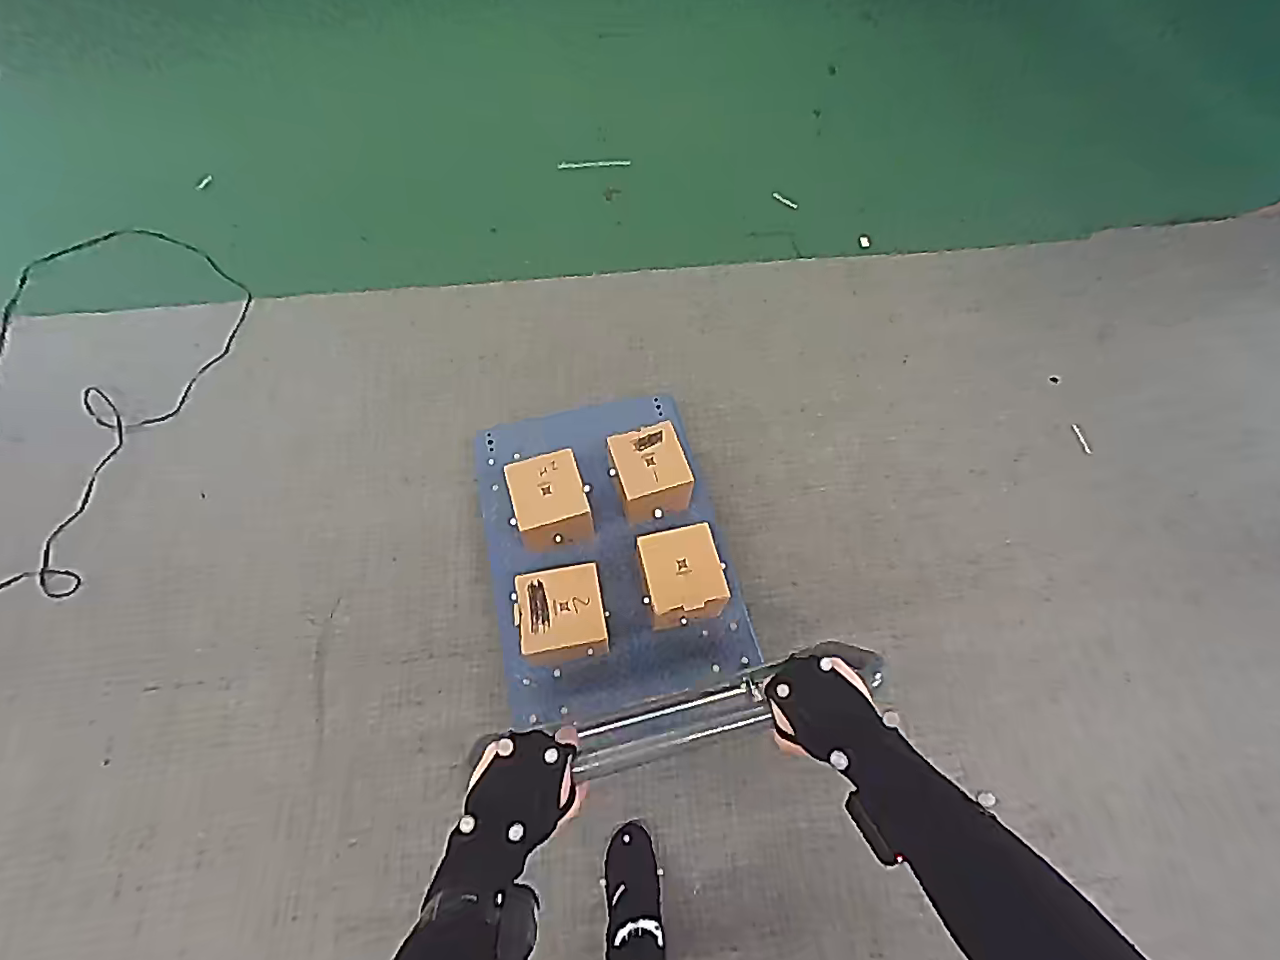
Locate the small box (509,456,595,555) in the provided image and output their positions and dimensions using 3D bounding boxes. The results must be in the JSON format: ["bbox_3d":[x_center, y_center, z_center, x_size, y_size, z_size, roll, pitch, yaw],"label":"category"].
[{"bbox_3d":[-0.211,0.071,1.332,0.168,0.176,0.179,-16,64,-9],"label":"small box"}]

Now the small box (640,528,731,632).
[{"bbox_3d":[0.096,0.235,1.254,0.168,0.176,0.179,-12,64,-7],"label":"small box"}]

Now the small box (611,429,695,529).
[{"bbox_3d":[0.028,0.001,1.371,0.168,0.176,0.179,-16,65,-8],"label":"small box"}]
